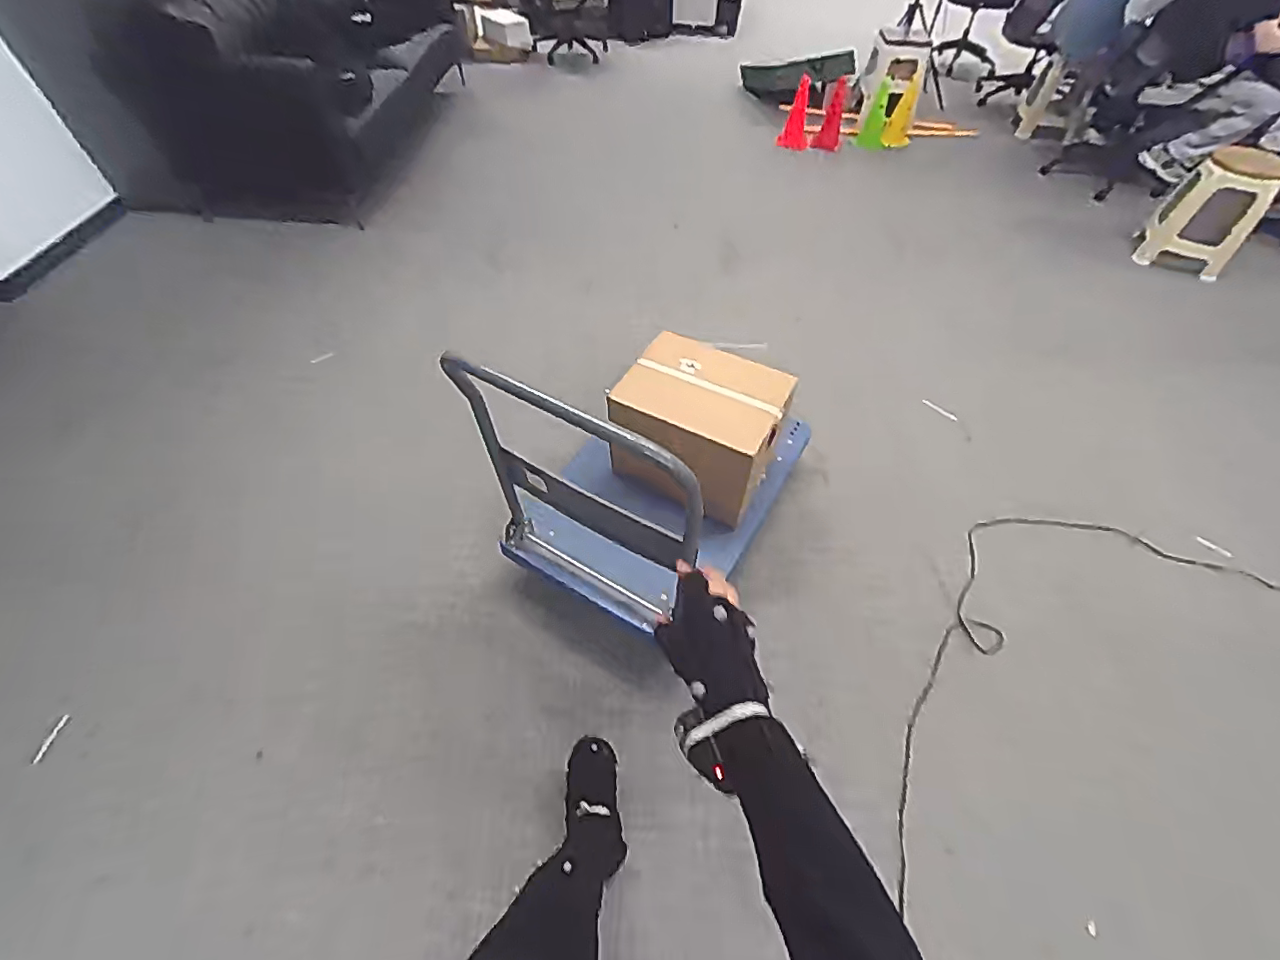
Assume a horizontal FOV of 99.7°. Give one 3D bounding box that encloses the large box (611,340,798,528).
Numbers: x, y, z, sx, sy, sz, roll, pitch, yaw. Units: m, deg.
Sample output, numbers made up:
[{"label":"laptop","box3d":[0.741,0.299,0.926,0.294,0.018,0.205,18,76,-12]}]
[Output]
[{"label":"large box","box3d":[0.173,-0.130,1.515,0.408,0.320,0.320,24,55,18]}]
